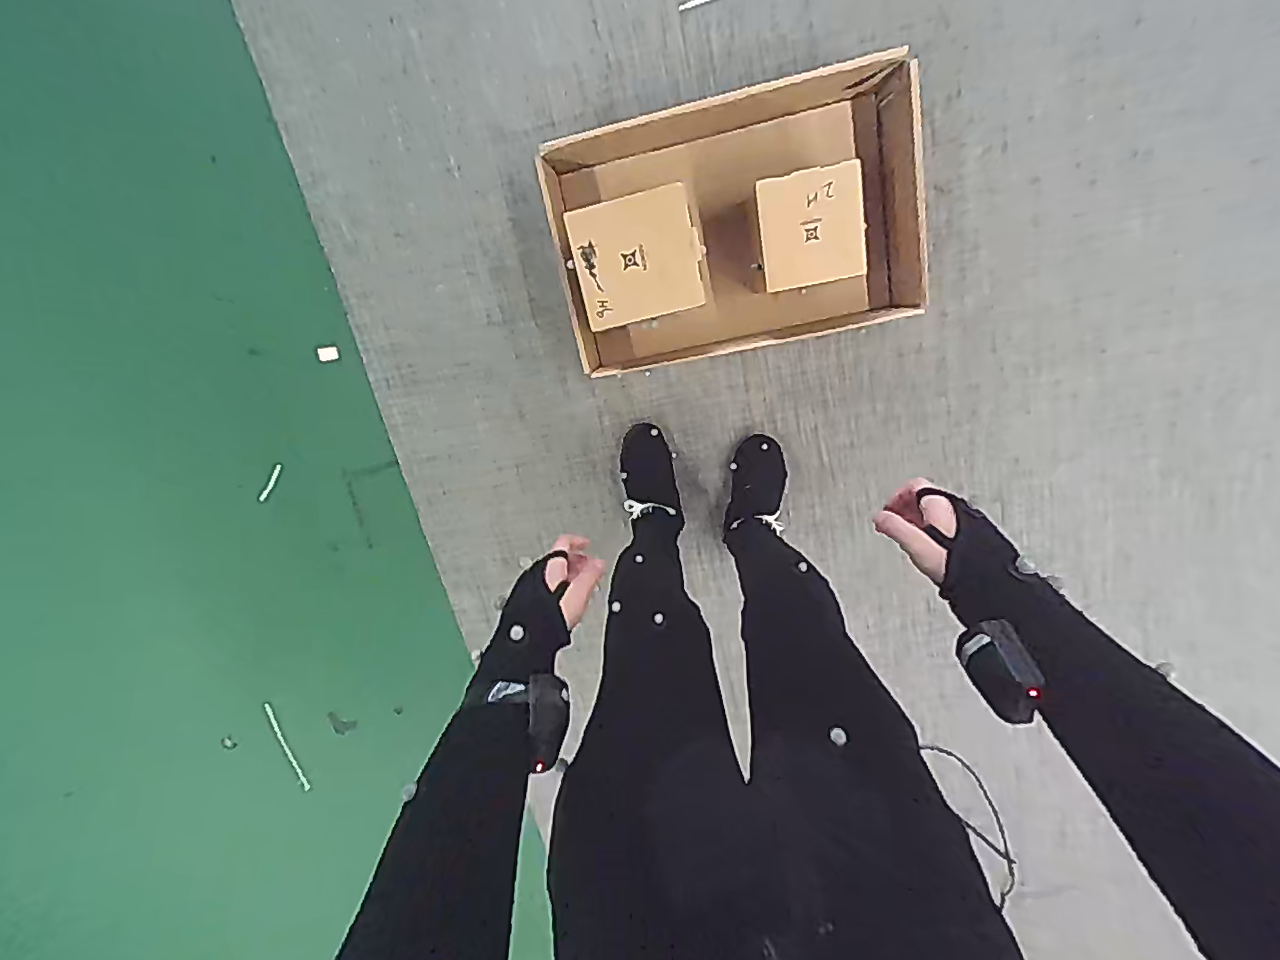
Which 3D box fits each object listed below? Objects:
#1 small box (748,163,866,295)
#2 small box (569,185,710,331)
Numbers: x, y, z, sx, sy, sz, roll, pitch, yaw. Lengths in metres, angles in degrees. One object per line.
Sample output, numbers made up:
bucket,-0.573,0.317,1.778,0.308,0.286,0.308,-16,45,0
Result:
small box,0.289,-0.429,0.956,0.168,0.176,0.179,-8,106,7
small box,0.004,-0.333,0.838,0.179,0.176,0.168,-11,105,7
